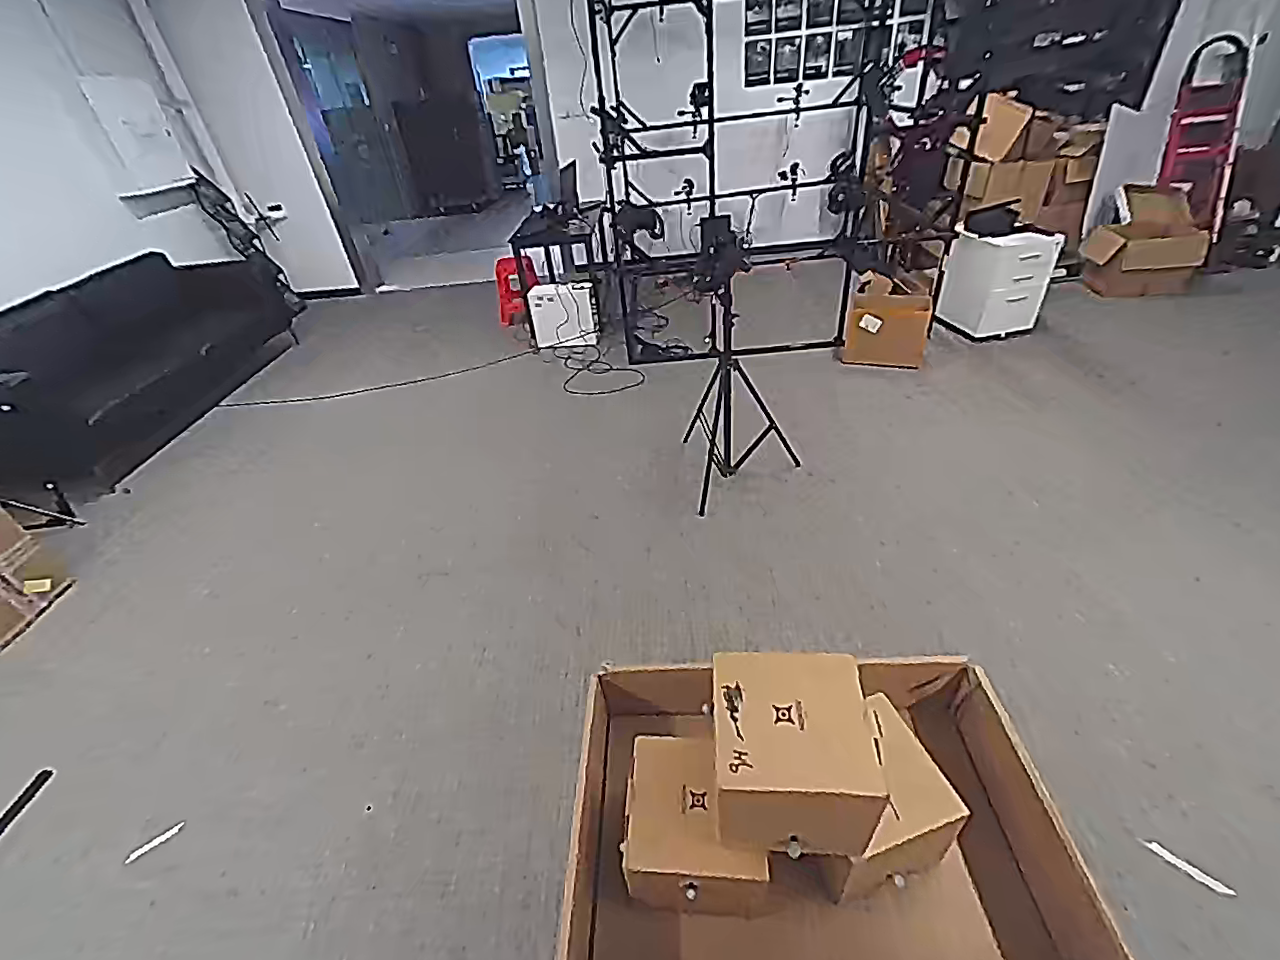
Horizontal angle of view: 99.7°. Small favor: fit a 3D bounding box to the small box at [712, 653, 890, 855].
[{"bbox_3d":[0.179,0.334,0.662,0.179,0.176,0.168,-1,37,7],"label":"small box"}]
